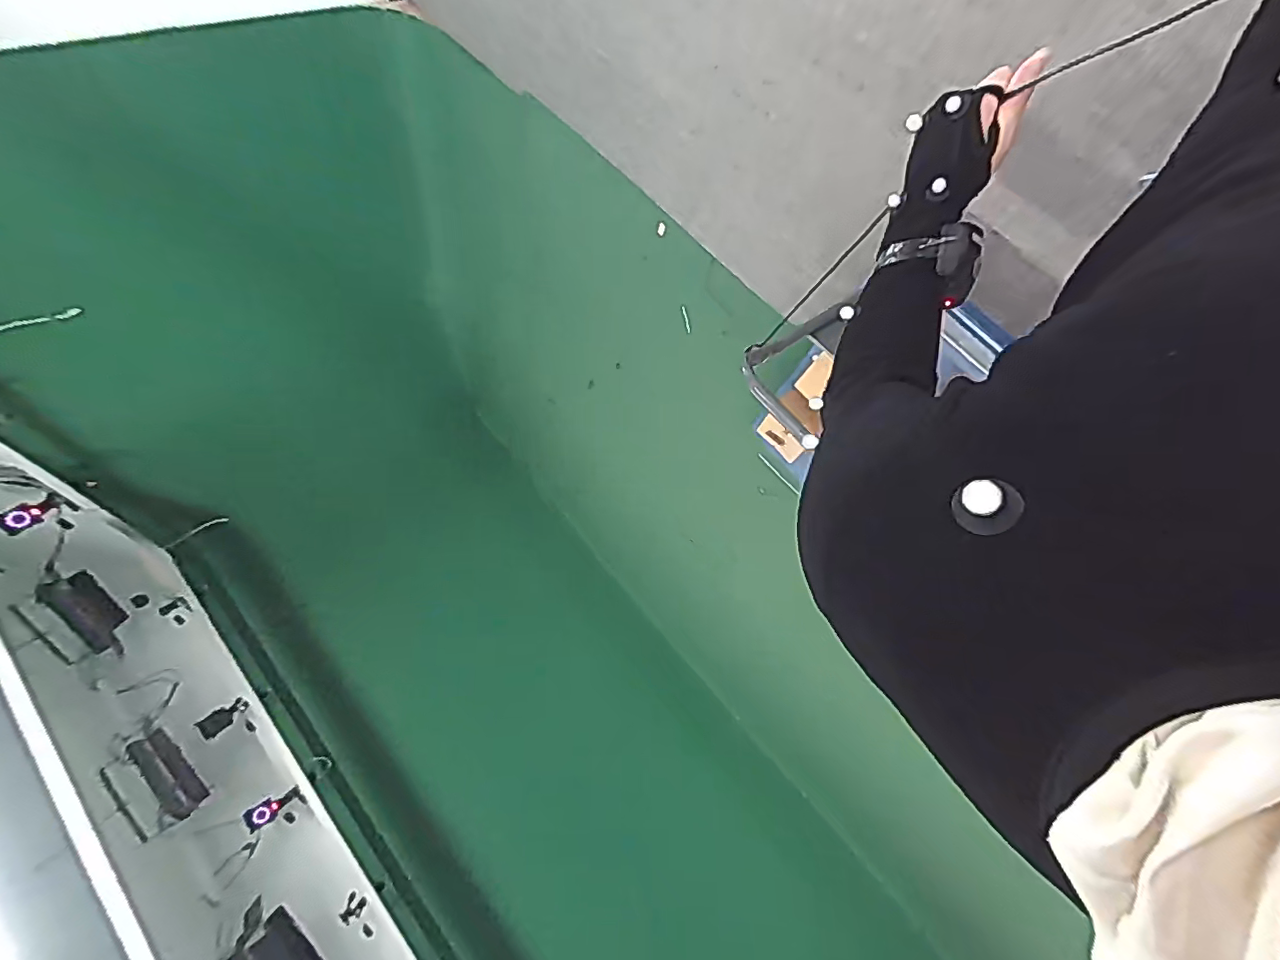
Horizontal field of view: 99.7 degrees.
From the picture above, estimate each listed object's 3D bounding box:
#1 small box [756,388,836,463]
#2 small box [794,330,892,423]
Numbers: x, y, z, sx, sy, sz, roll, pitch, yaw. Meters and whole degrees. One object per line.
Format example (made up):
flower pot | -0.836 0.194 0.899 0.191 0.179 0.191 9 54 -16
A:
small box | 0.524 -0.193 1.798 0.168 0.176 0.179 46 150 13
small box | 0.593 -0.303 1.578 0.168 0.176 0.179 49 150 10
